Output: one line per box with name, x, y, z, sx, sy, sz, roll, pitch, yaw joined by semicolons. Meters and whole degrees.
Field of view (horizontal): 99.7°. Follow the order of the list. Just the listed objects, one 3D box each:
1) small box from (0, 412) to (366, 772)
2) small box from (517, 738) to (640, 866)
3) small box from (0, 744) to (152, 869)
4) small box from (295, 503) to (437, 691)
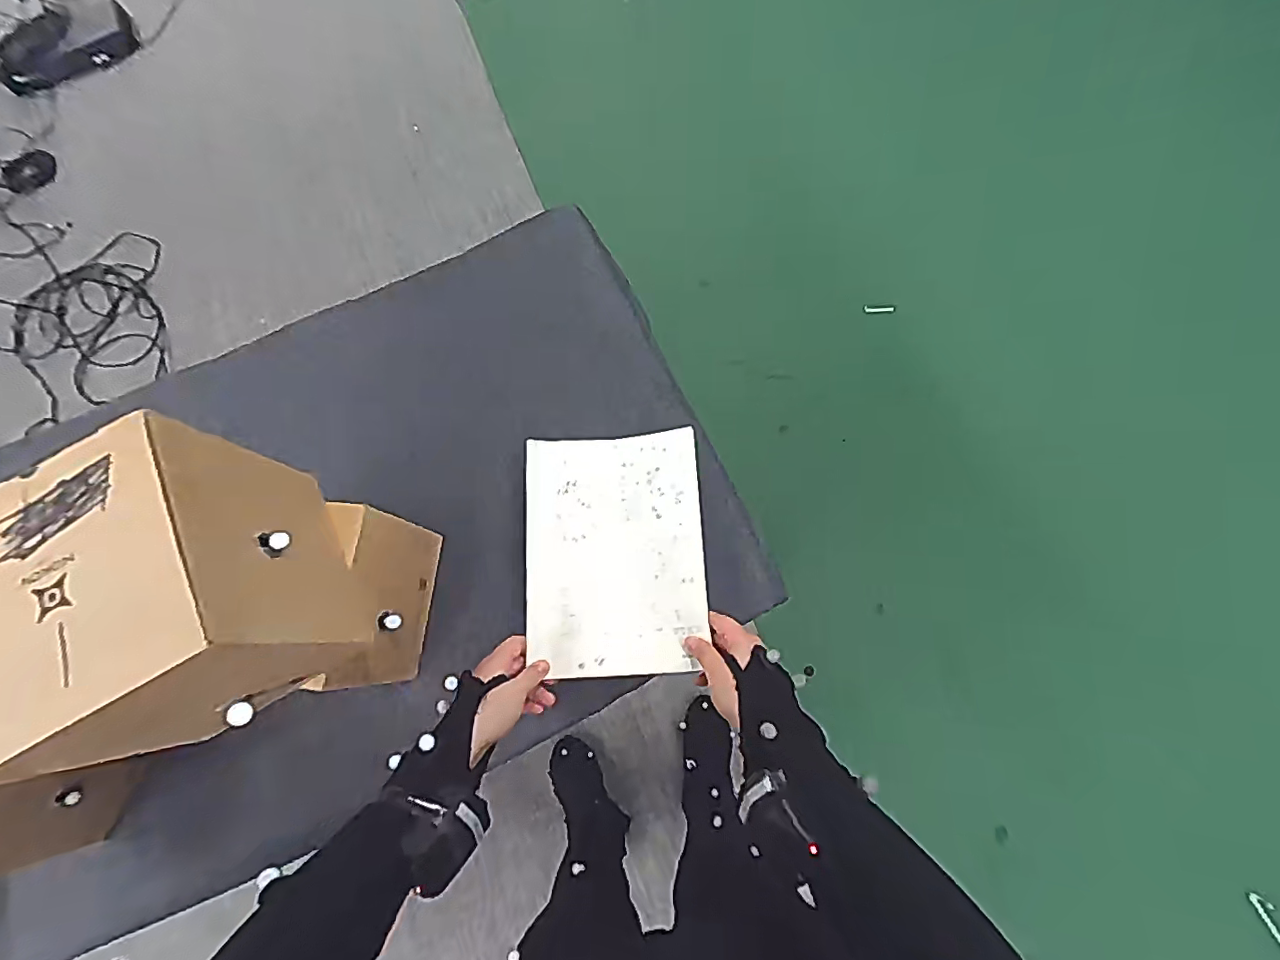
small box;-0.346;0.085;0.404;0.168;0.176;0.179;-29;74;-2
small box;-0.123;0.666;1.134;0.176;0.168;0.179;36;53;-15
small box;-0.646;0.270;0.551;0.179;0.176;0.168;23;77;11
small box;-0.339;0.116;0.565;0.179;0.176;0.168;3;75;7
